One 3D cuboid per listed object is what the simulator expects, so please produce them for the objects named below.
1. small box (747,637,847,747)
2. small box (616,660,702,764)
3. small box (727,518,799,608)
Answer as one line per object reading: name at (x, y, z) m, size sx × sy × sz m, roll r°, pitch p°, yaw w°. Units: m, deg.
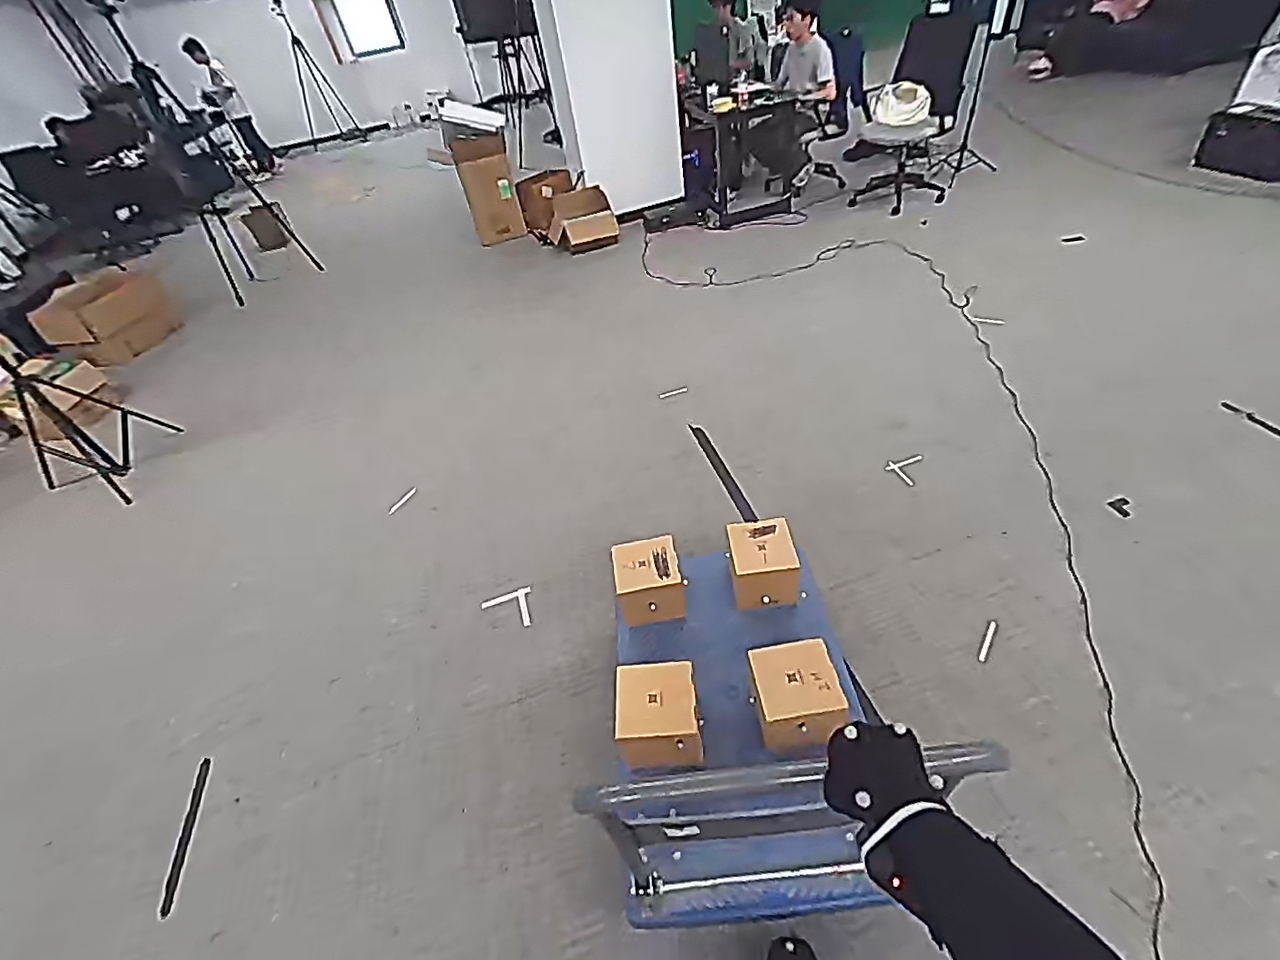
small box at (0.351, 0.486, 1.230) m, size 0.179 × 0.176 × 0.168 m, roll -10°, pitch 43°, yaw 2°
small box at (0.046, 0.537, 1.244) m, size 0.179 × 0.176 × 0.168 m, roll -6°, pitch 42°, yaw 4°
small box at (0.335, 0.231, 1.507) m, size 0.168 × 0.176 × 0.179 m, roll -8°, pitch 44°, yaw 3°
